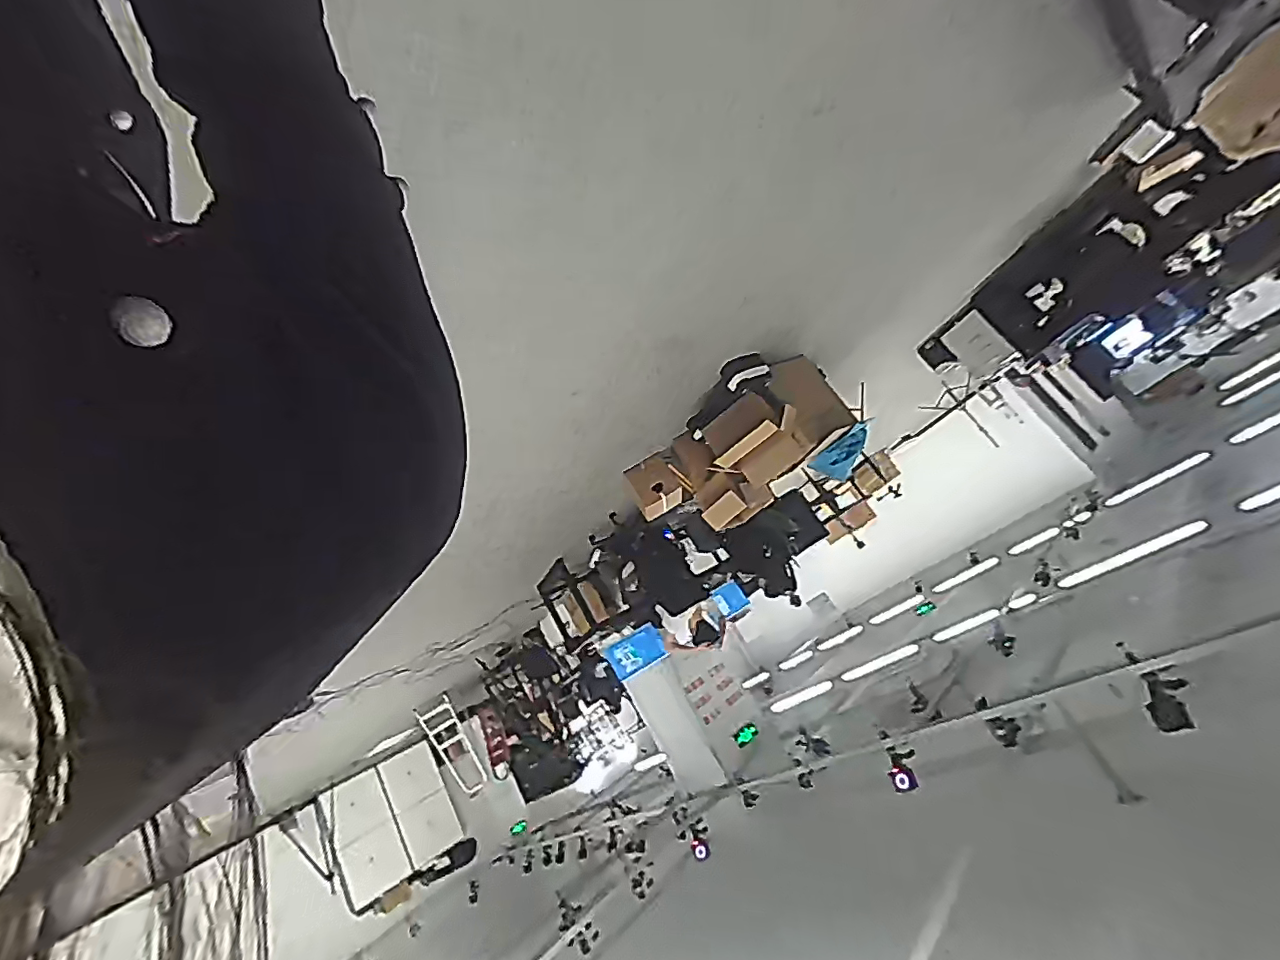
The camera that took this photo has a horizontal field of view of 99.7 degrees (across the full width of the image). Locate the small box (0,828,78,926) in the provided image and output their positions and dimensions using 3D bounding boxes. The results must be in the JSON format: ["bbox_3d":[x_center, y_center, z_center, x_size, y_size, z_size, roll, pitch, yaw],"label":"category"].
[{"bbox_3d":[-1.729,1.111,1.512,0.179,0.176,0.168,-16,156,-41],"label":"small box"}]
